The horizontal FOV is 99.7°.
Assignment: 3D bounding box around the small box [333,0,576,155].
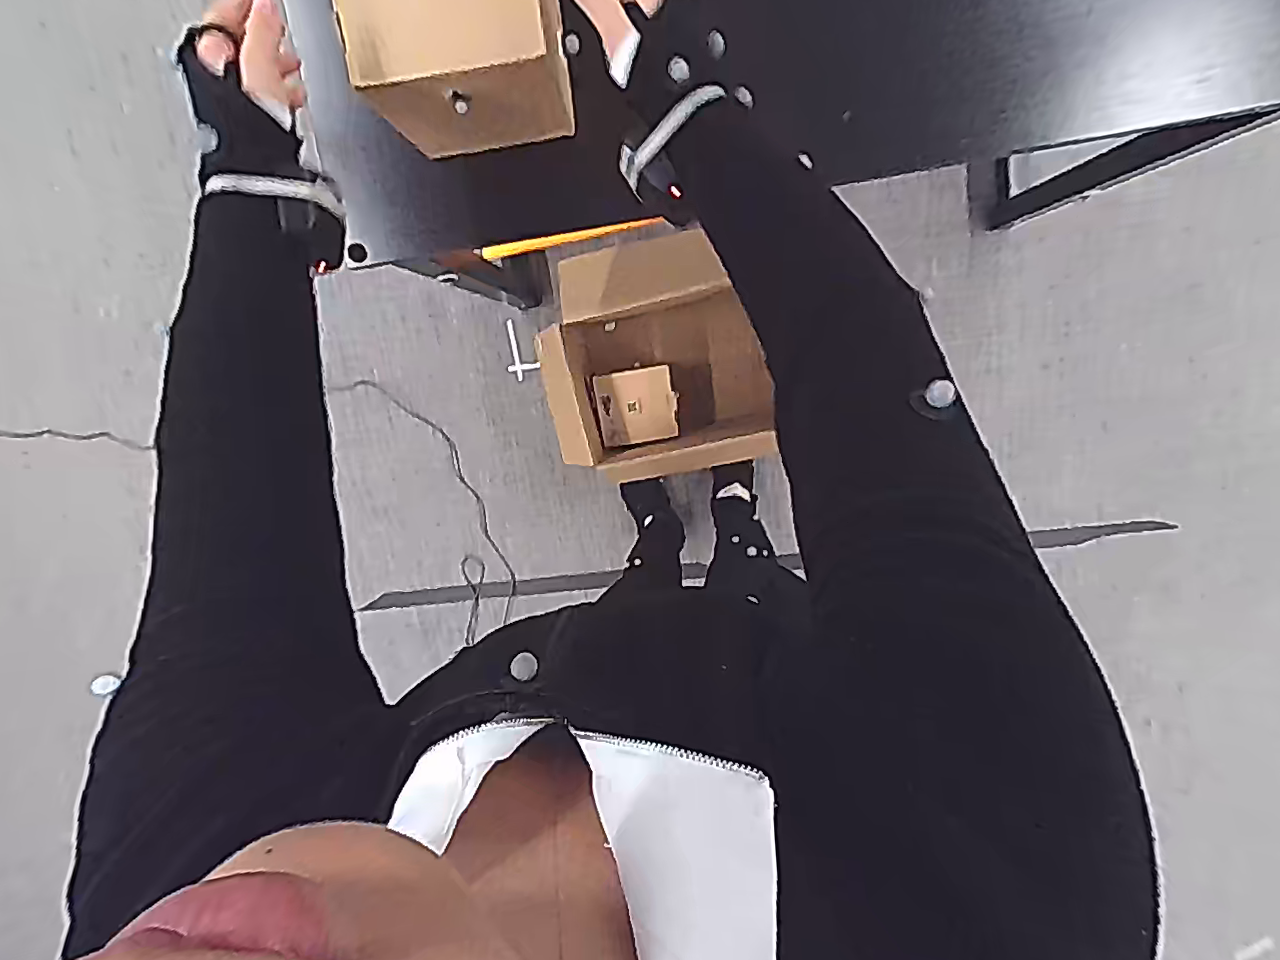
[{"bbox_3d":[-0.169,-0.439,0.520,0.179,0.176,0.168,-7,102,3],"label":"small box"}]
